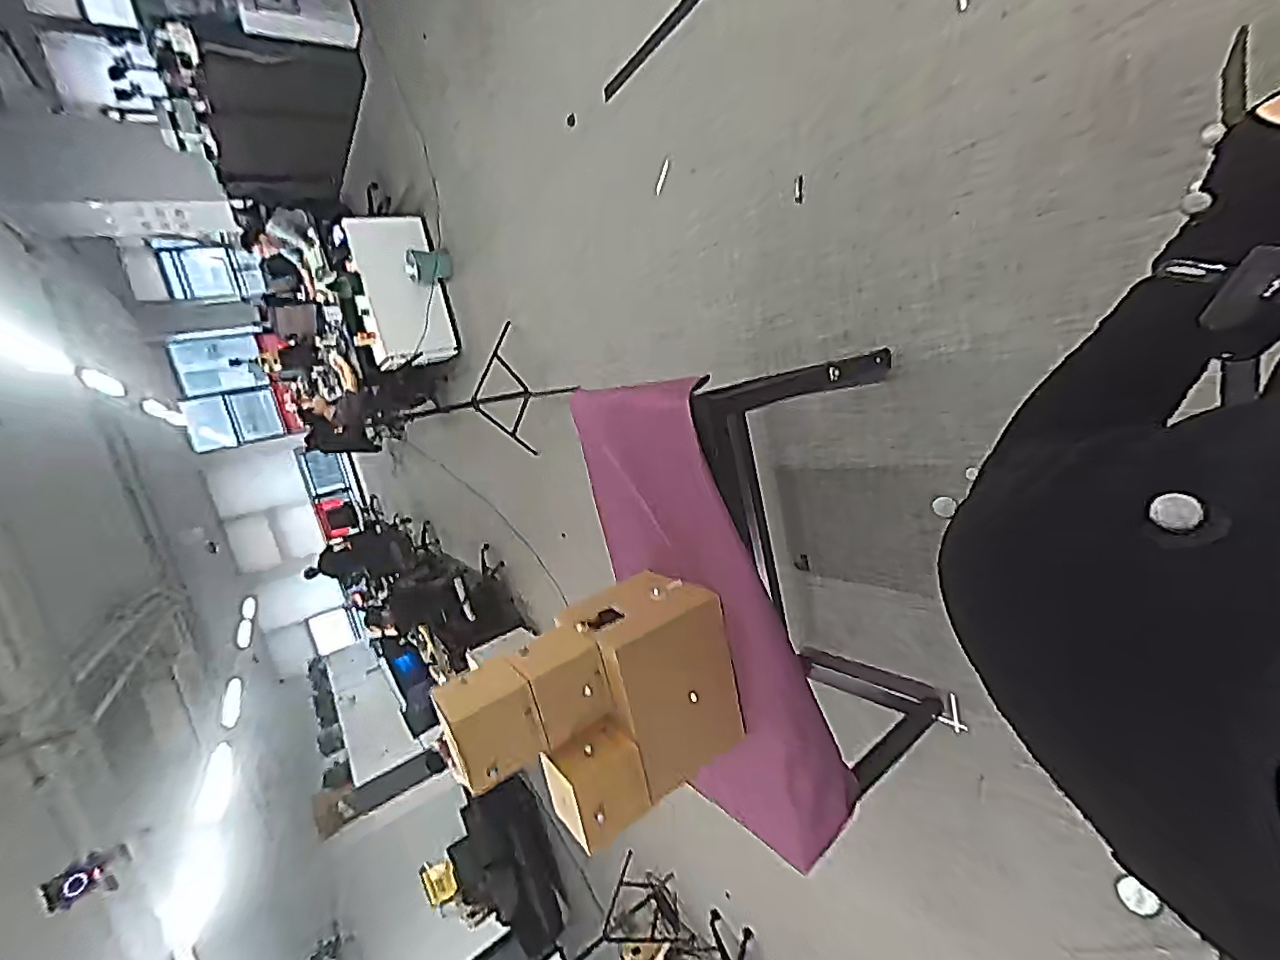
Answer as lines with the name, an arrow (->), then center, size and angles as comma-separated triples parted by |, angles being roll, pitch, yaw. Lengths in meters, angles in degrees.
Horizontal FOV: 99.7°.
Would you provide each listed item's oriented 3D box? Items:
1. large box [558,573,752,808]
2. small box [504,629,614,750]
large box -> 0.040, 0.495, 1.371 | 0.320, 0.320, 0.408 | 5, 112, 58
small box -> -0.182, 0.460, 1.220 | 0.179, 0.176, 0.168 | 5, 112, 57
